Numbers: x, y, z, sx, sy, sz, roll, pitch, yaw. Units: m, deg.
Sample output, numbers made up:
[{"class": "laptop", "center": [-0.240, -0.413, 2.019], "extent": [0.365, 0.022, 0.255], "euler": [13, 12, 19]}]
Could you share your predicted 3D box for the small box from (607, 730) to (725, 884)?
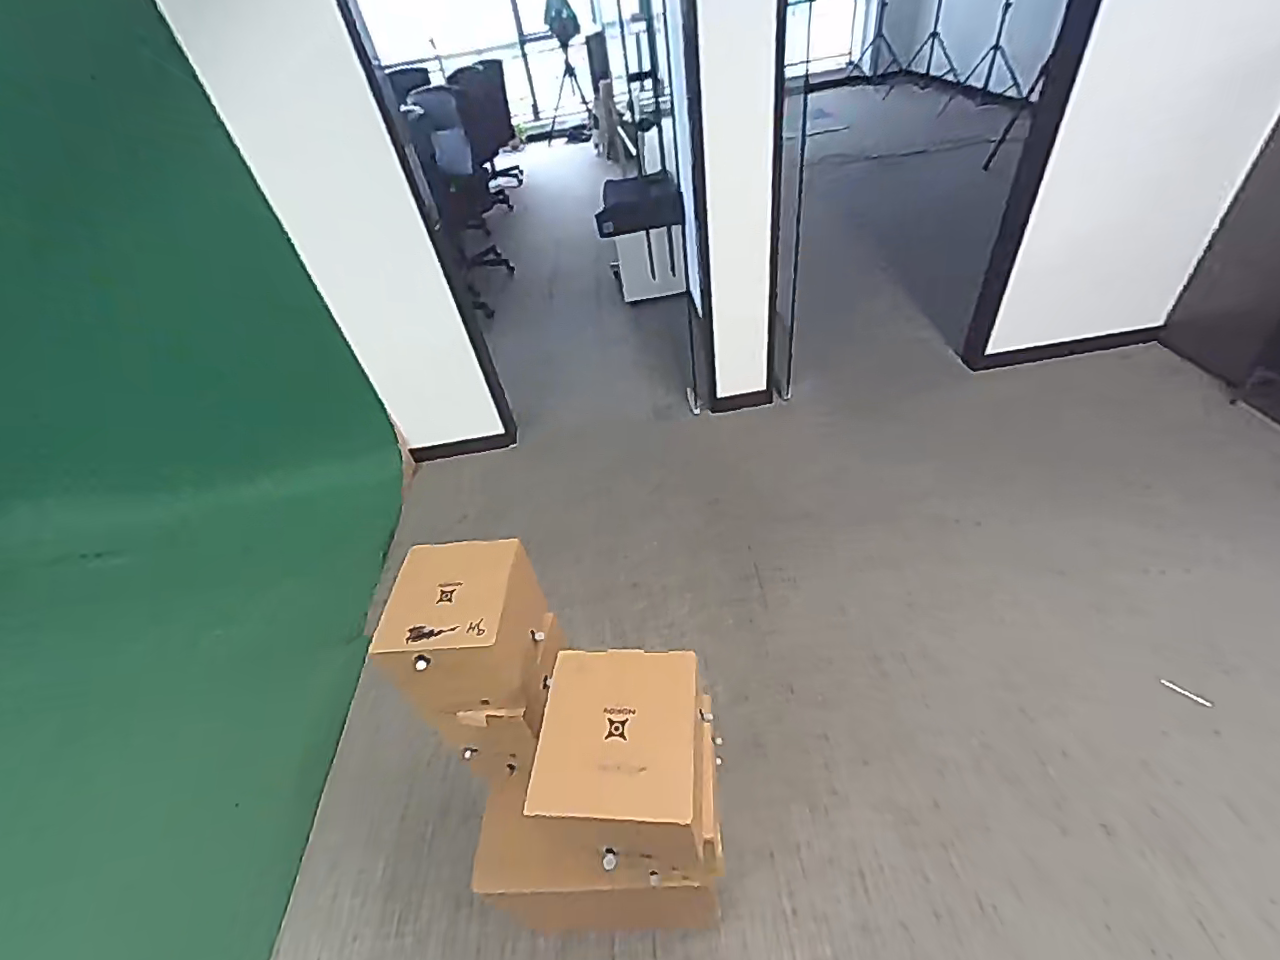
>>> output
[{"class": "small box", "center": [0.043, 0.529, 0.870], "extent": [0.168, 0.176, 0.179], "euler": [-7, 42, 4]}]

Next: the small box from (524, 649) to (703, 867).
[{"class": "small box", "center": [-0.015, 0.318, 0.625], "extent": [0.168, 0.176, 0.179], "euler": [-2, 44, 9]}]

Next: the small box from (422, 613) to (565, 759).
[{"class": "small box", "center": [-0.218, 0.337, 0.887], "extent": [0.168, 0.176, 0.179], "euler": [0, 42, 11]}]

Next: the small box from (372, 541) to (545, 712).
[{"class": "small box", "center": [-0.244, 0.212, 0.782], "extent": [0.168, 0.176, 0.179], "euler": [-5, 42, 6]}]

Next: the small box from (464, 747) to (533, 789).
[{"class": "small box", "center": [-0.191, 0.457, 0.996], "extent": [0.179, 0.176, 0.168], "euler": [-1, 43, 9]}]
